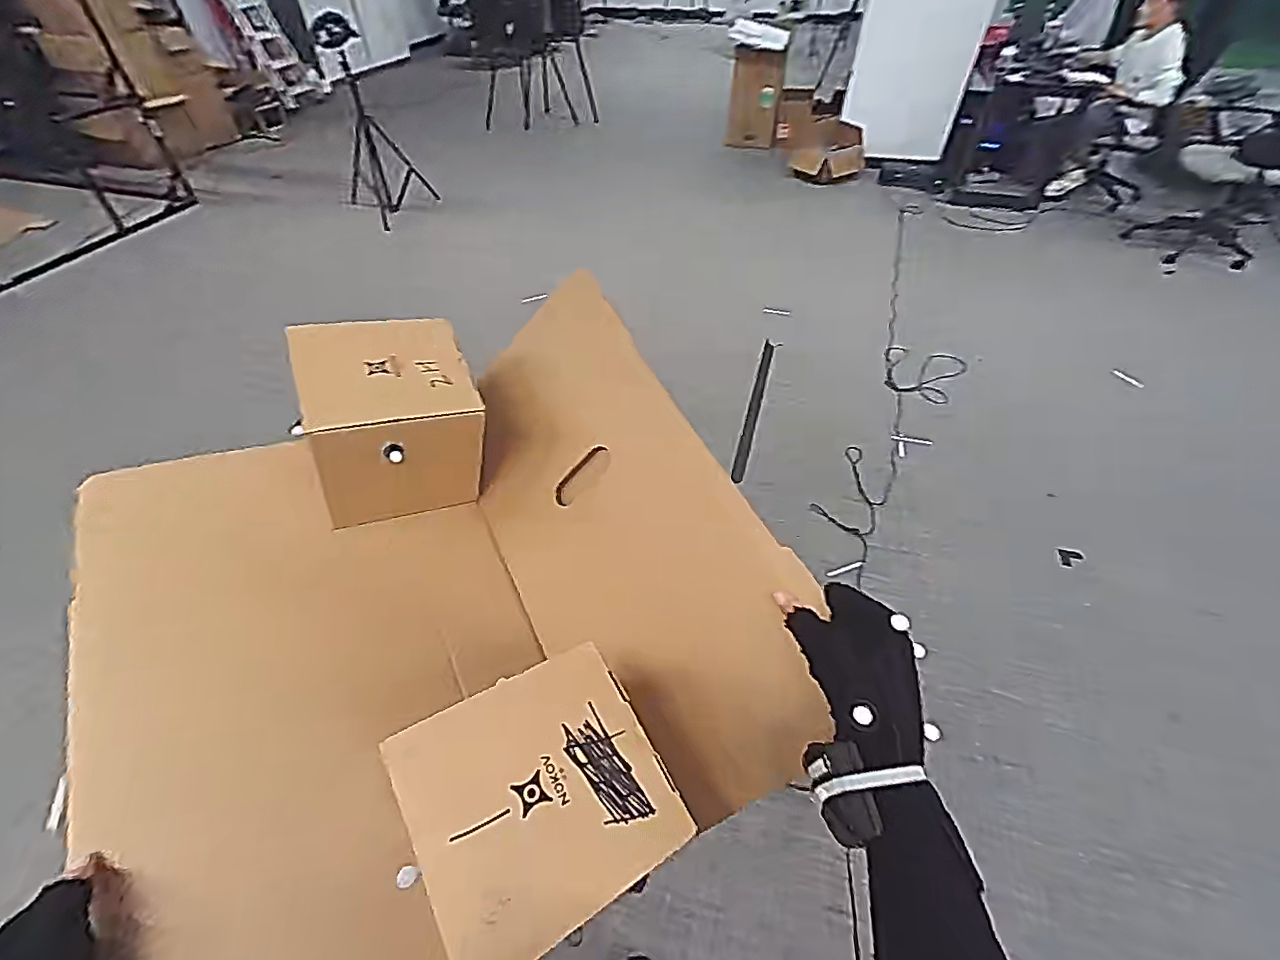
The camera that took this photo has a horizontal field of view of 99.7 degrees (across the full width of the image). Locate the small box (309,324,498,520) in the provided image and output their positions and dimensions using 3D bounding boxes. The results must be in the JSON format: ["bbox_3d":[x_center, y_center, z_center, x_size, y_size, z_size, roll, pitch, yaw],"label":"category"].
[{"bbox_3d":[-0.283,-0.070,0.659,0.179,0.176,0.168,-10,56,-27],"label":"small box"}]
